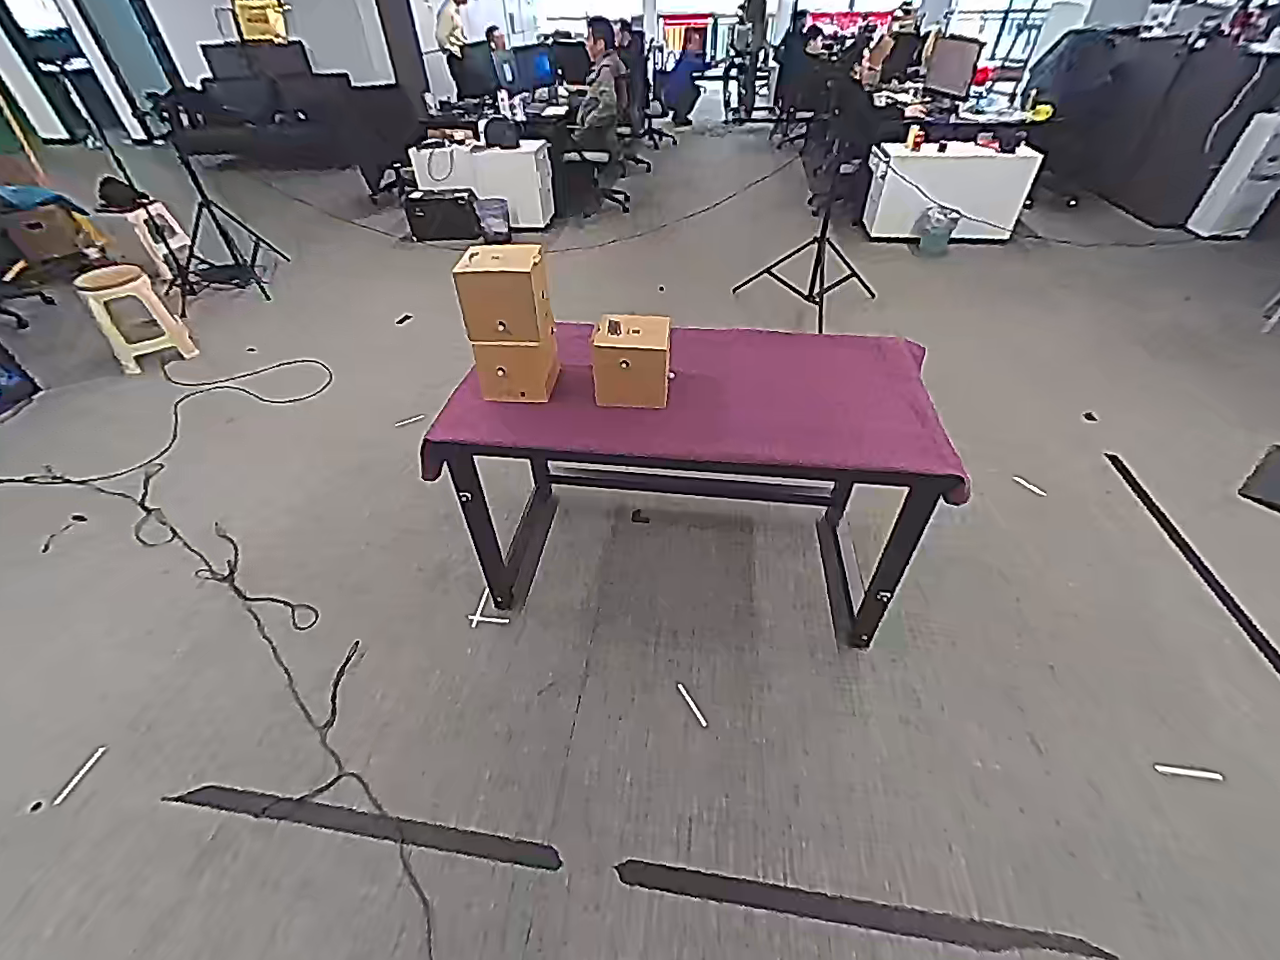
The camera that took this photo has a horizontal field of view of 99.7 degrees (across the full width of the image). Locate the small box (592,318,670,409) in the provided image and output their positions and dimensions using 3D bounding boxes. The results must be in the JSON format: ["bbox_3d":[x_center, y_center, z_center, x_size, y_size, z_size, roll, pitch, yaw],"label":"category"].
[{"bbox_3d":[-0.017,-0.292,1.359,0.179,0.176,0.168,3,42,4],"label":"small box"}]

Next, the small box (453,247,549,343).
[{"bbox_3d":[-0.318,-0.436,1.284,0.179,0.176,0.168,1,41,2],"label":"small box"}]

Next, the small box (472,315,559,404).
[{"bbox_3d":[-0.310,-0.309,1.388,0.168,0.176,0.179,2,42,4],"label":"small box"}]
